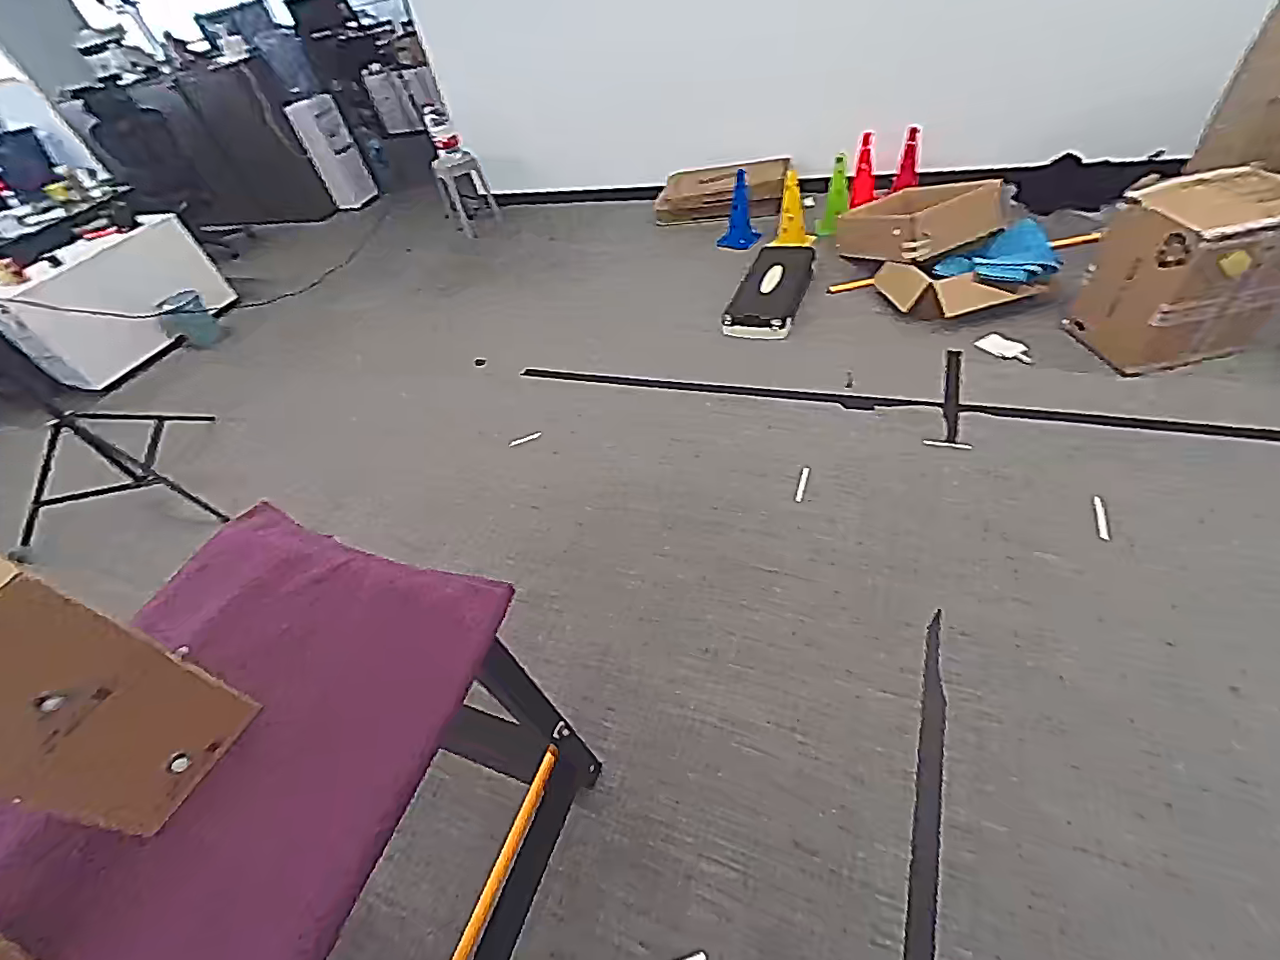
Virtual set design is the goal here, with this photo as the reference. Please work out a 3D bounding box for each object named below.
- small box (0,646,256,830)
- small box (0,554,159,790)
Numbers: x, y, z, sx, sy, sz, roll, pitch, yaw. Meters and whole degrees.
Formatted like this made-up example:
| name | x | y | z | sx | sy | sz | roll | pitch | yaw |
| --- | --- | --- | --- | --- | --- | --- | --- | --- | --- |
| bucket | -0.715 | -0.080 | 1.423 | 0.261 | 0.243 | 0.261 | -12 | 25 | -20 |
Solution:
| name | x | y | z | sx | sy | sz | roll | pitch | yaw |
| --- | --- | --- | --- | --- | --- | --- | --- | --- | --- |
| small box | -0.633 | 0.294 | 0.659 | 0.179 | 0.176 | 0.168 | 13 | 52 | 23 |
| small box | -0.660 | 0.181 | 0.542 | 0.179 | 0.176 | 0.168 | 12 | 52 | 23 |
